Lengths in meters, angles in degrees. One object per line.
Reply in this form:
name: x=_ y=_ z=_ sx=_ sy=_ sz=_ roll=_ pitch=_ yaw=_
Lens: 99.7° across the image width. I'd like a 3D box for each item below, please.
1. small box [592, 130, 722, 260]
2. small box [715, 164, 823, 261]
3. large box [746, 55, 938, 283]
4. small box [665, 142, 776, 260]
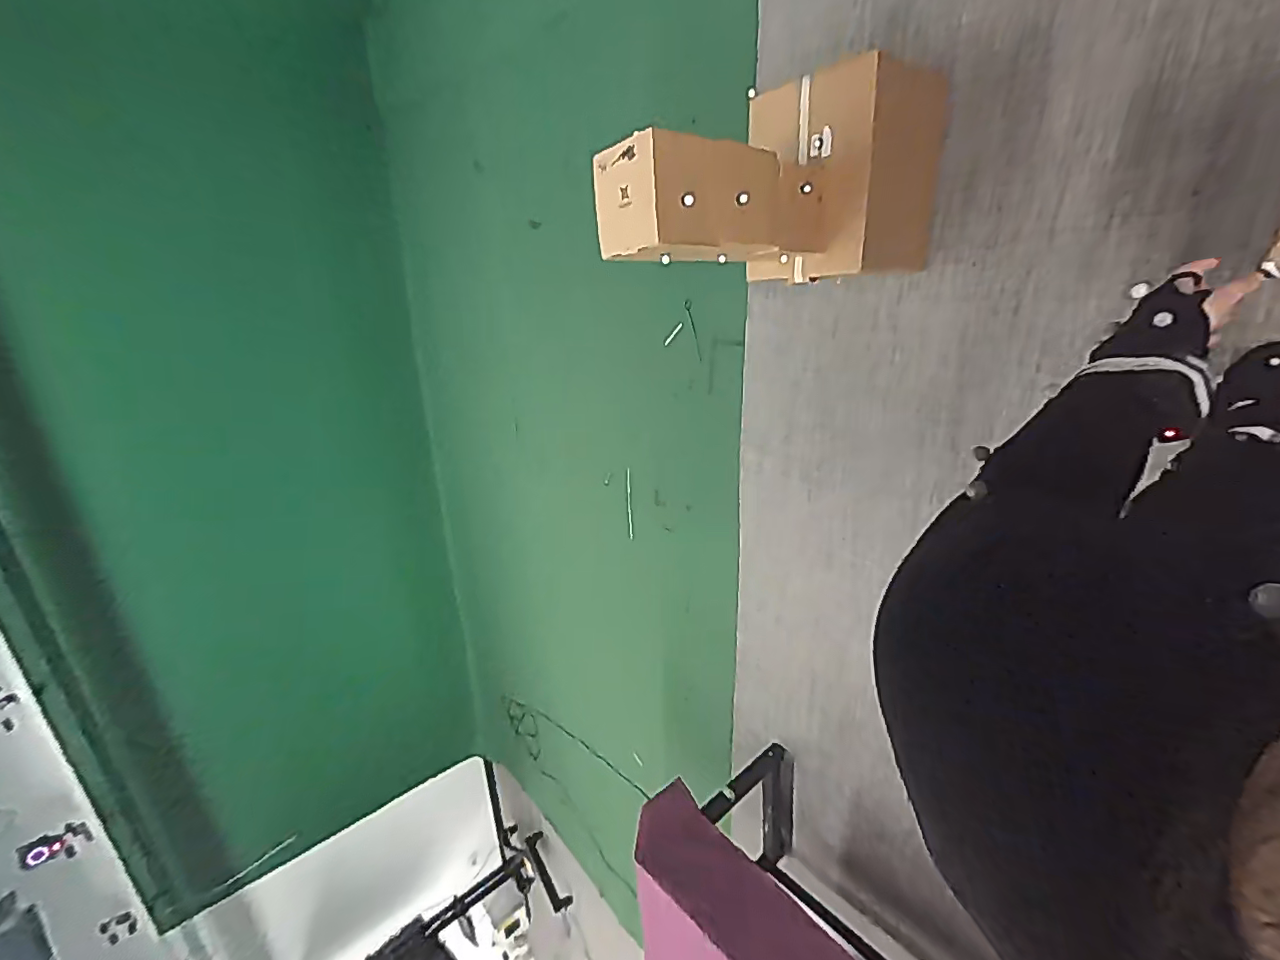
small box: x=0.035 y=-0.504 z=0.981 sx=0.168 sy=0.176 sz=0.179 roll=14 pitch=115 yaw=48
small box: x=0.282 y=-0.577 z=1.186 sx=0.179 sy=0.176 sz=0.168 roll=17 pitch=116 yaw=48
large box: x=0.474 y=-0.697 z=1.300 sx=0.320 sy=0.320 sz=0.408 roll=18 pitch=117 yaw=46
small box: x=0.158 y=-0.545 z=1.083 sx=0.168 sy=0.176 sz=0.179 roll=11 pitch=111 yaw=48
